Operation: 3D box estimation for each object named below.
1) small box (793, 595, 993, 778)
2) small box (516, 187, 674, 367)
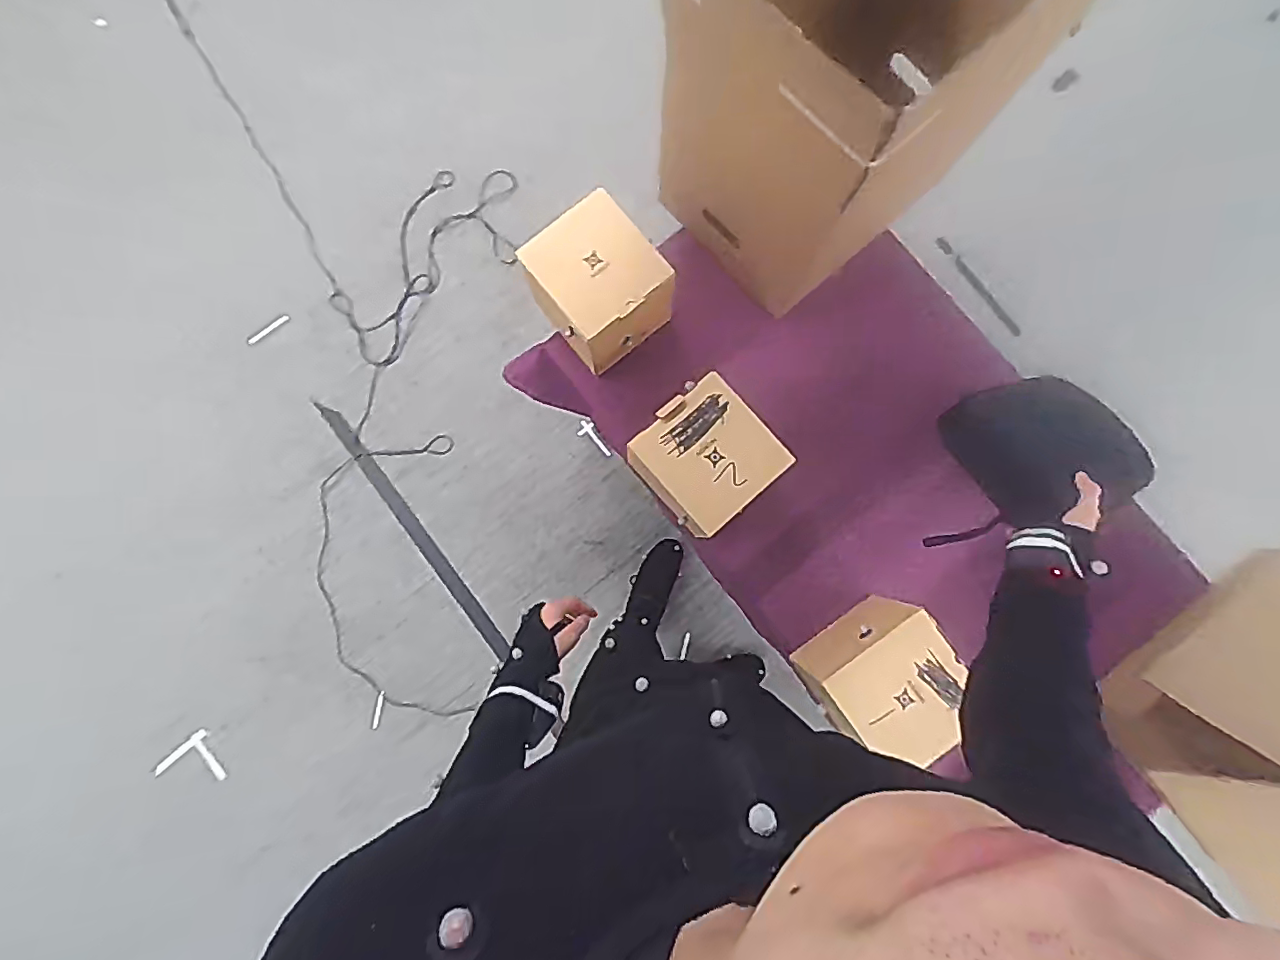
[{"bbox_3d":[0.359,0.289,0.804,0.179,0.176,0.168,-35,85,-3],"label":"small box"},{"bbox_3d":[-0.068,-0.309,0.862,0.168,0.176,0.179,-40,87,-4],"label":"small box"}]
